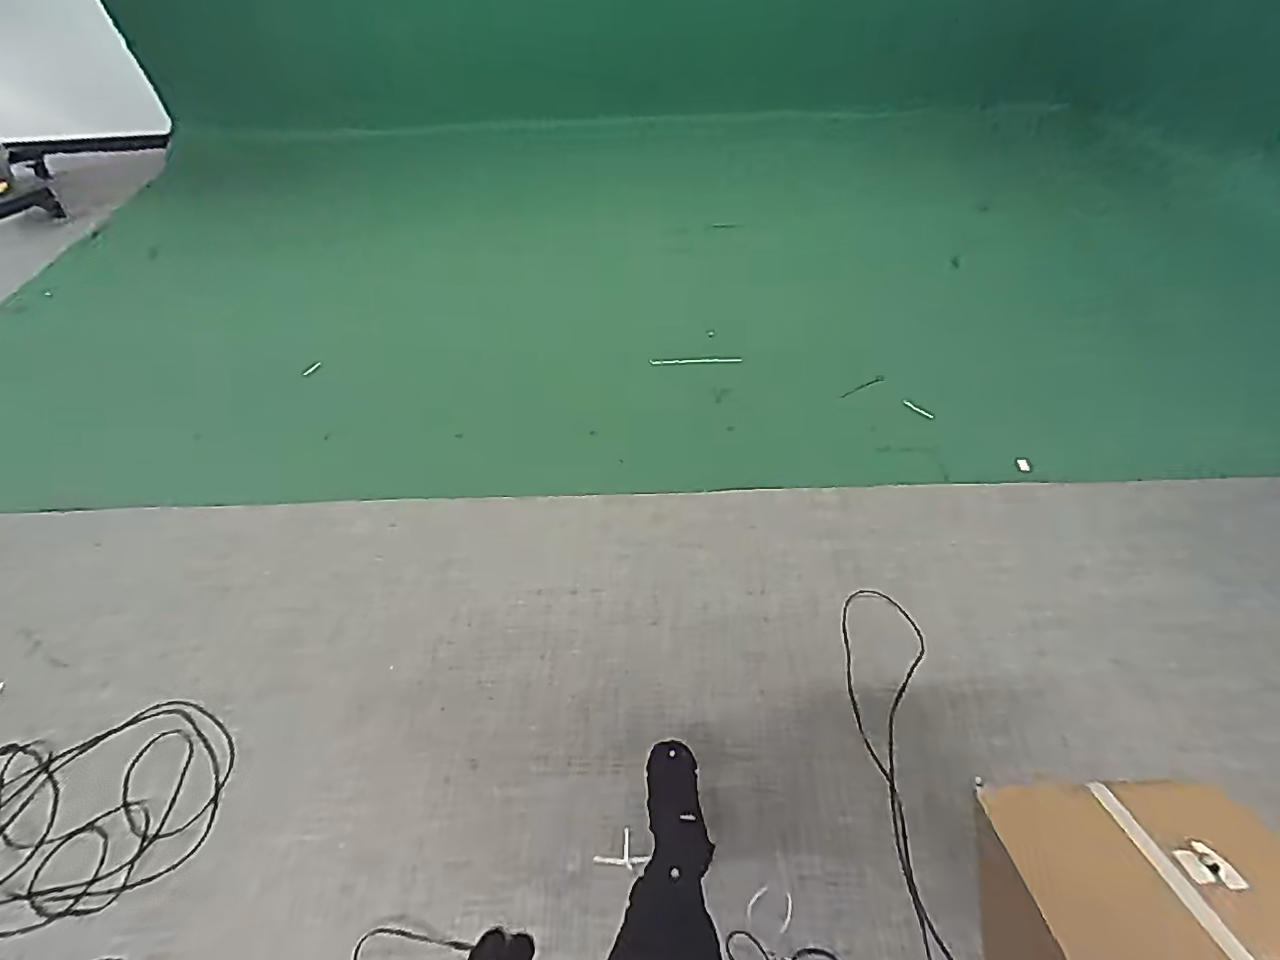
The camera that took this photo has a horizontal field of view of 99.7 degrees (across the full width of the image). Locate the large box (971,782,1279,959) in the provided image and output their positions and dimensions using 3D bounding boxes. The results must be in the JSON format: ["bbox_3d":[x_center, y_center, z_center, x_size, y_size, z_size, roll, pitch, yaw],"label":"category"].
[{"bbox_3d":[0.642,0.632,0.622,0.320,0.320,0.408,-7,11,11],"label":"large box"}]
